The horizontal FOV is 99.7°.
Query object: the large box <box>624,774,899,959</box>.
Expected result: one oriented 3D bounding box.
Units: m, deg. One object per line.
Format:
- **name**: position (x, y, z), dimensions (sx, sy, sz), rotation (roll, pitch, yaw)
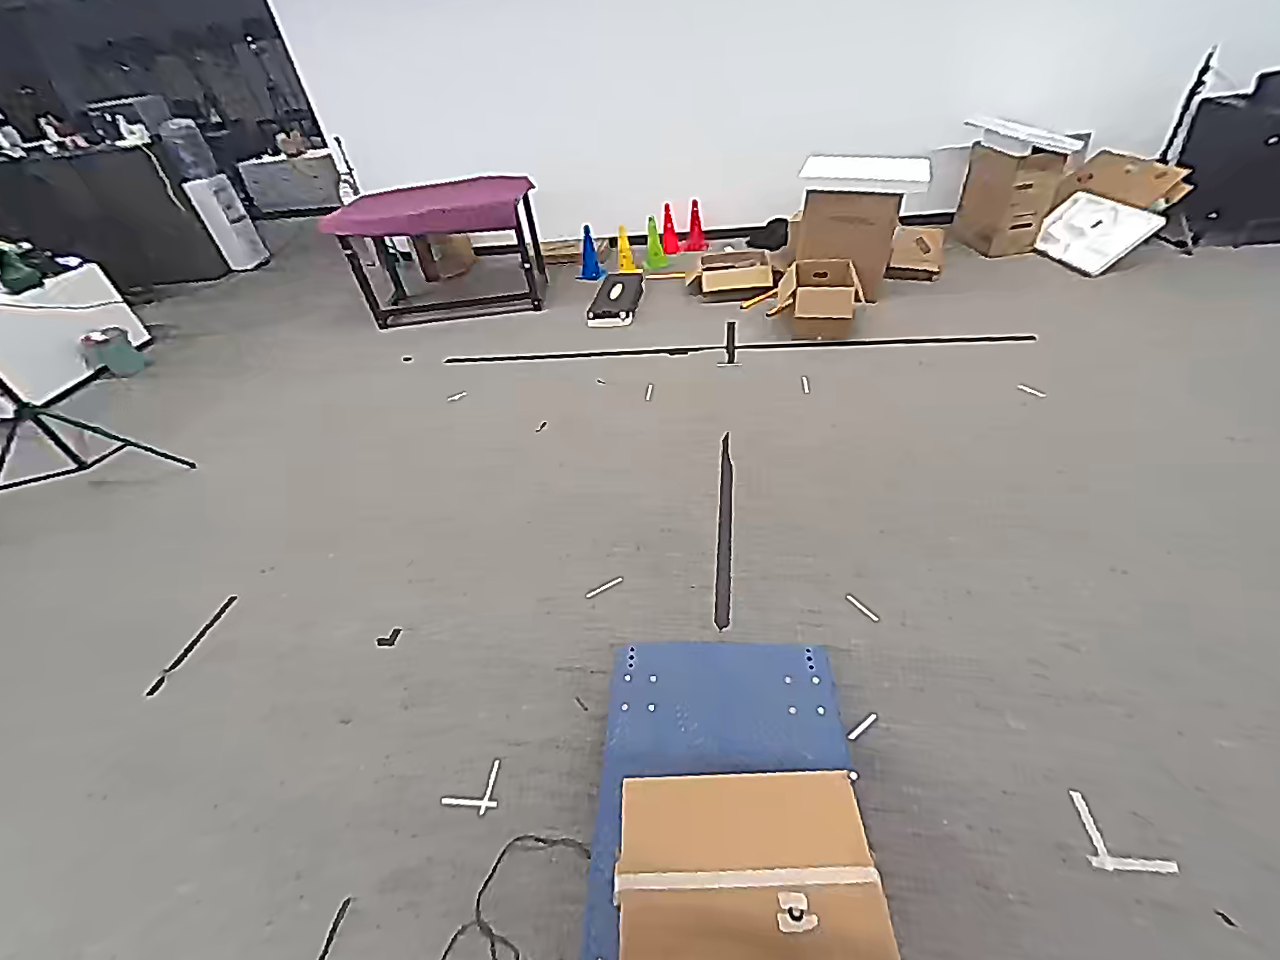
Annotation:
- **large box**: position (0.184, 0.753, 0.952), dimensions (0.408, 0.320, 0.320), rotation (-4, 41, 3)
